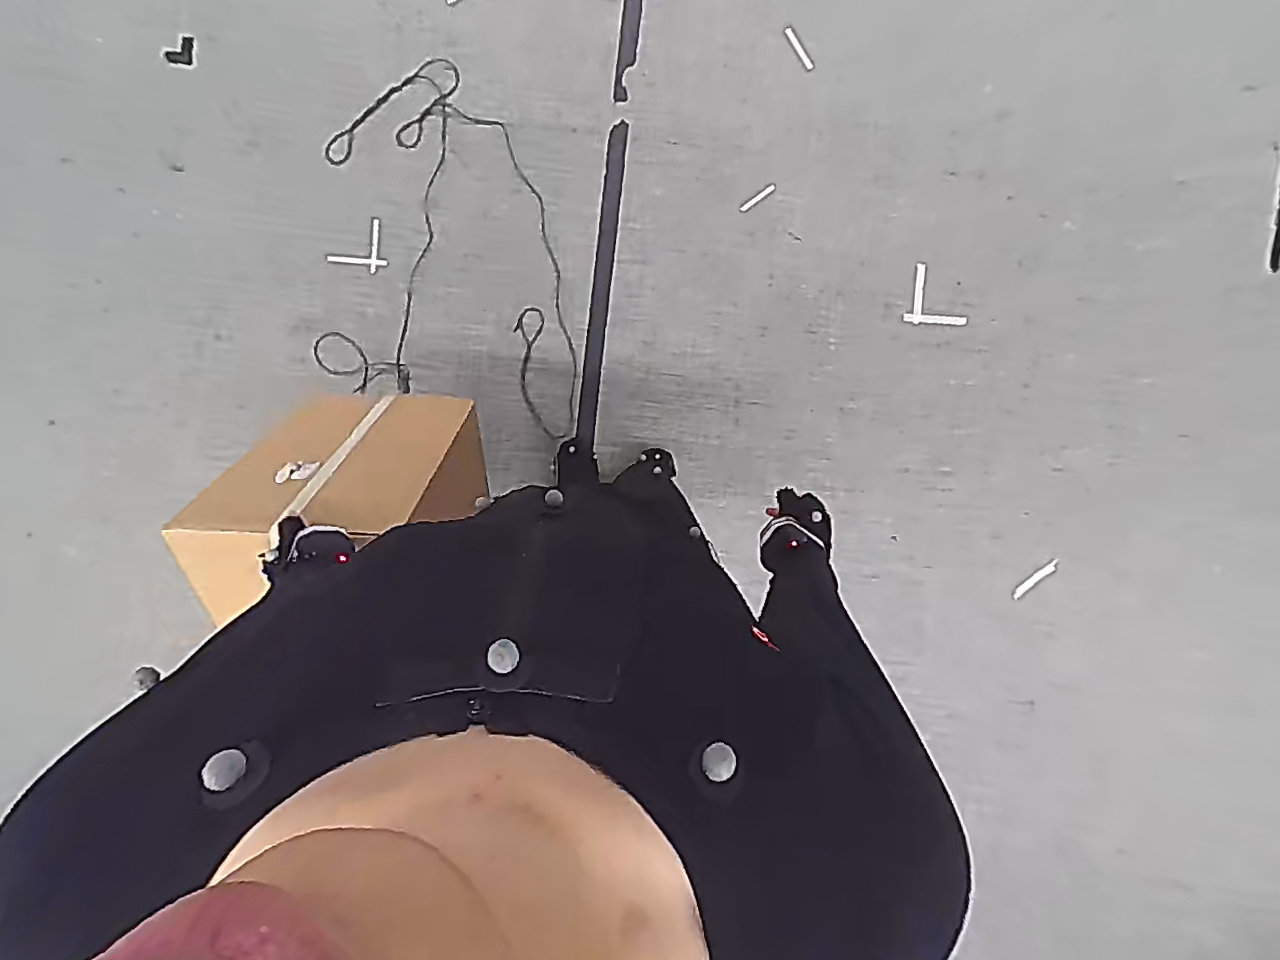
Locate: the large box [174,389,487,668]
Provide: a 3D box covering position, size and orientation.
[{"bbox_3d":[-0.481,0.071,0.968,0.320,0.408,0.320,2,127,-1],"label":"large box"}]
